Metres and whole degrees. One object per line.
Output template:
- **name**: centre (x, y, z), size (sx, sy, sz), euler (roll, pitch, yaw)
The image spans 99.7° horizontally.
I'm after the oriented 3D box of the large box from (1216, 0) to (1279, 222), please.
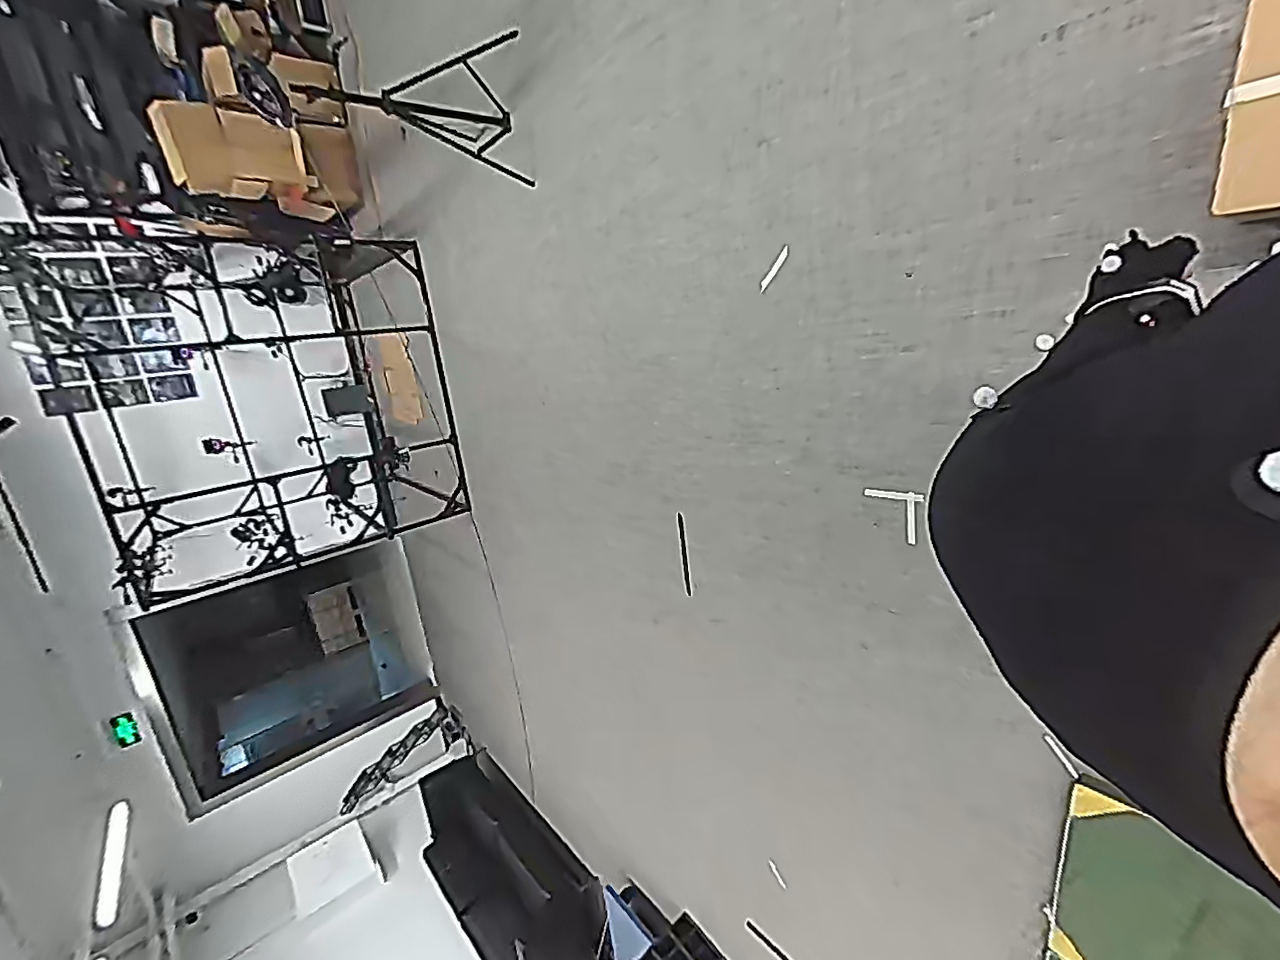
- **large box**: centre (1.073, -0.553, 0.706), size (0.408, 0.320, 0.320), euler (12, 114, 48)
